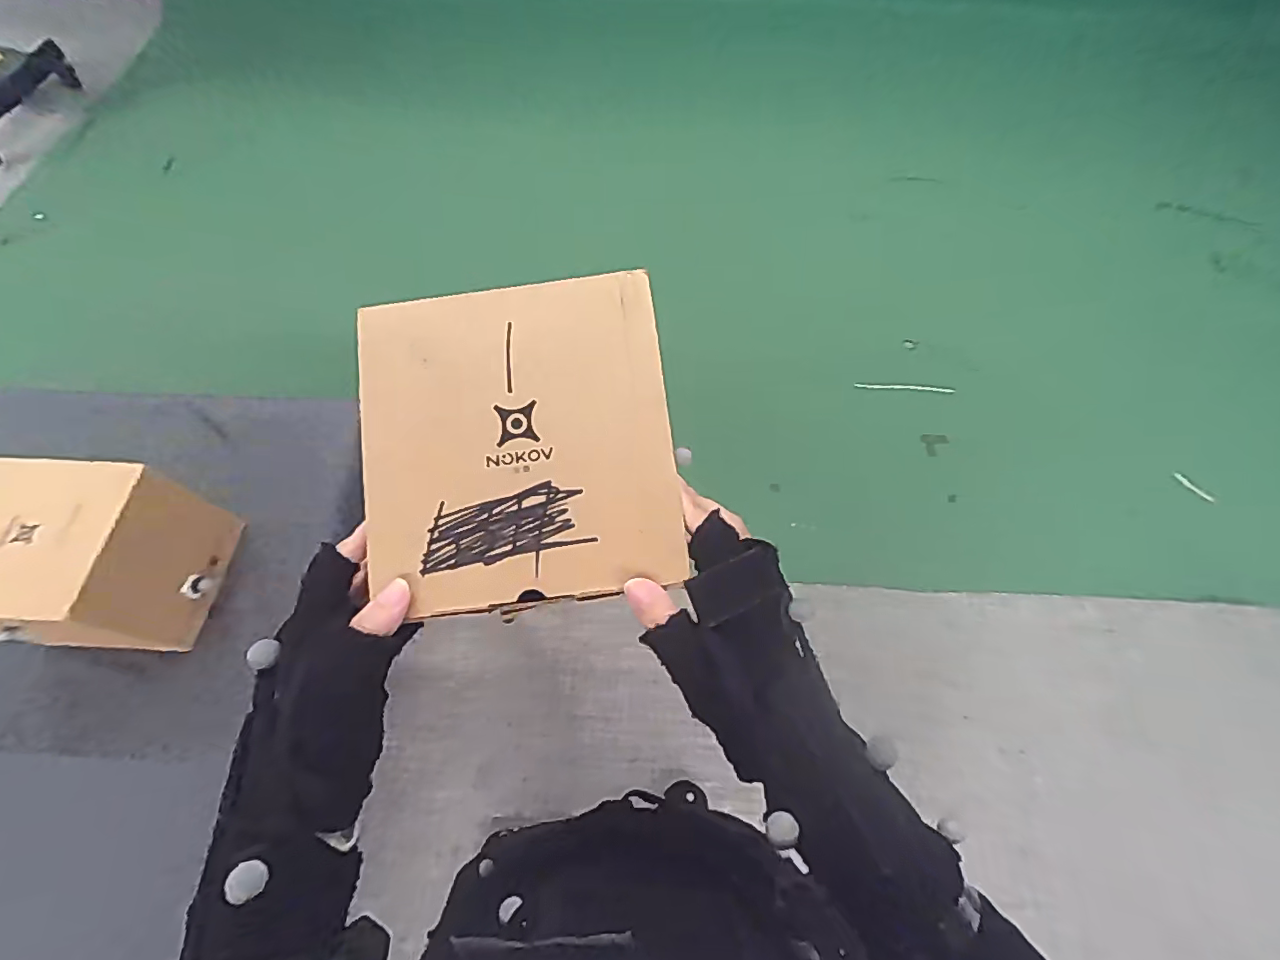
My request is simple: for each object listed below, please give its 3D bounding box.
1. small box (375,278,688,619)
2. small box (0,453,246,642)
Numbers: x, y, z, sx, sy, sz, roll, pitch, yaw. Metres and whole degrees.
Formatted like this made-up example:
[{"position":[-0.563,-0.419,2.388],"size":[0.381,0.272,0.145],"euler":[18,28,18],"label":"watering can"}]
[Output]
[{"position":[-0.058,-0.008,0.371],"size":[0.168,0.176,0.179],"euler":[-6,80,1],"label":"small box"},{"position":[-0.606,0.084,0.611],"size":[0.179,0.176,0.168],"euler":[3,64,0],"label":"small box"}]
